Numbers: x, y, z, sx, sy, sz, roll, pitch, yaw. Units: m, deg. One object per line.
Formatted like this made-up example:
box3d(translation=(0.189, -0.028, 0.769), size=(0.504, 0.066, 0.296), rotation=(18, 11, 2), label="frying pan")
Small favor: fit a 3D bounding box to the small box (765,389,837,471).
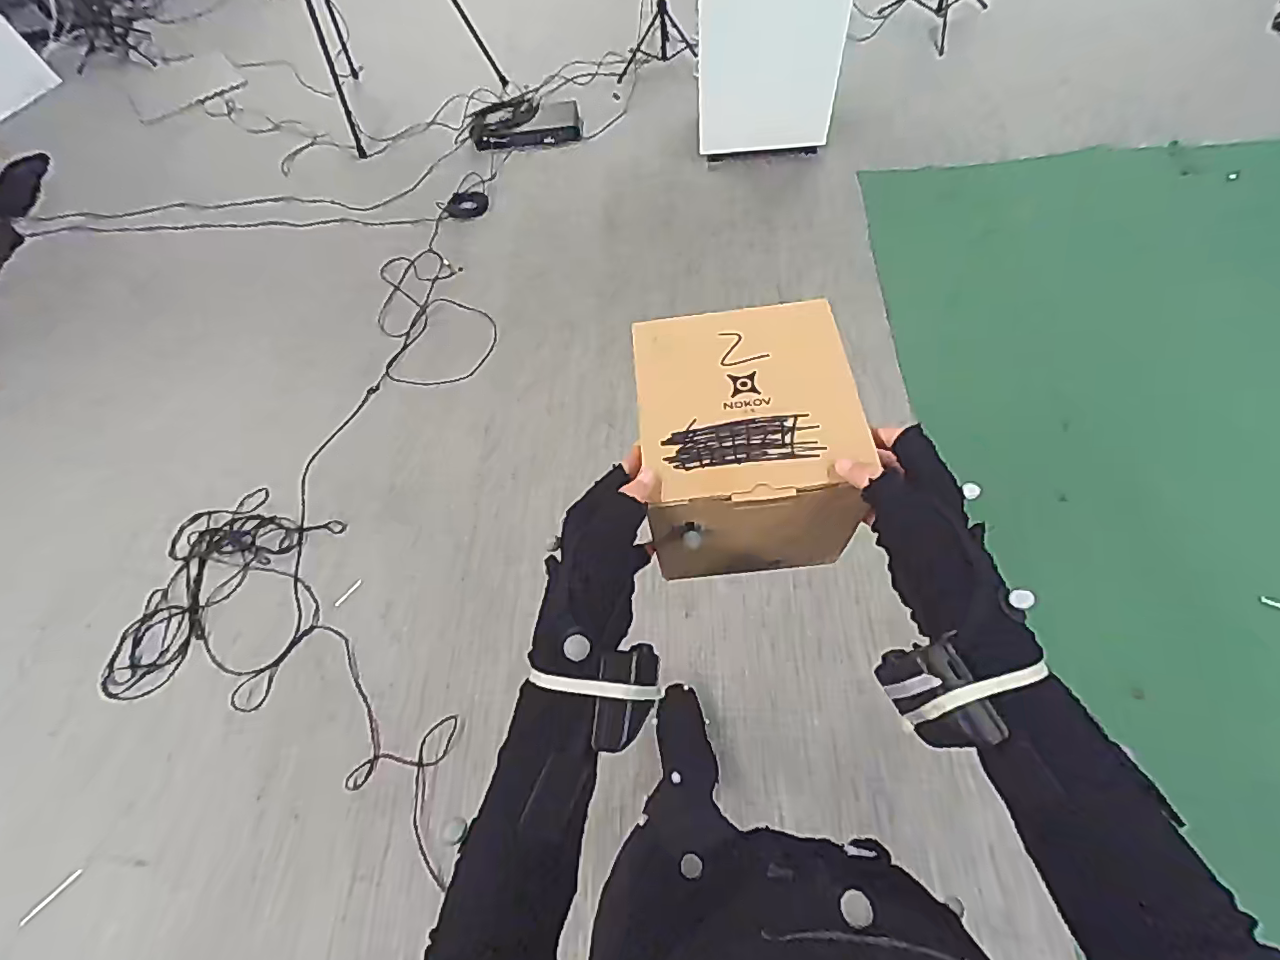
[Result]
box3d(translation=(0.456, -0.142, 1.560), size=(0.168, 0.176, 0.179), rotation=(-2, 62, 6), label="small box")
